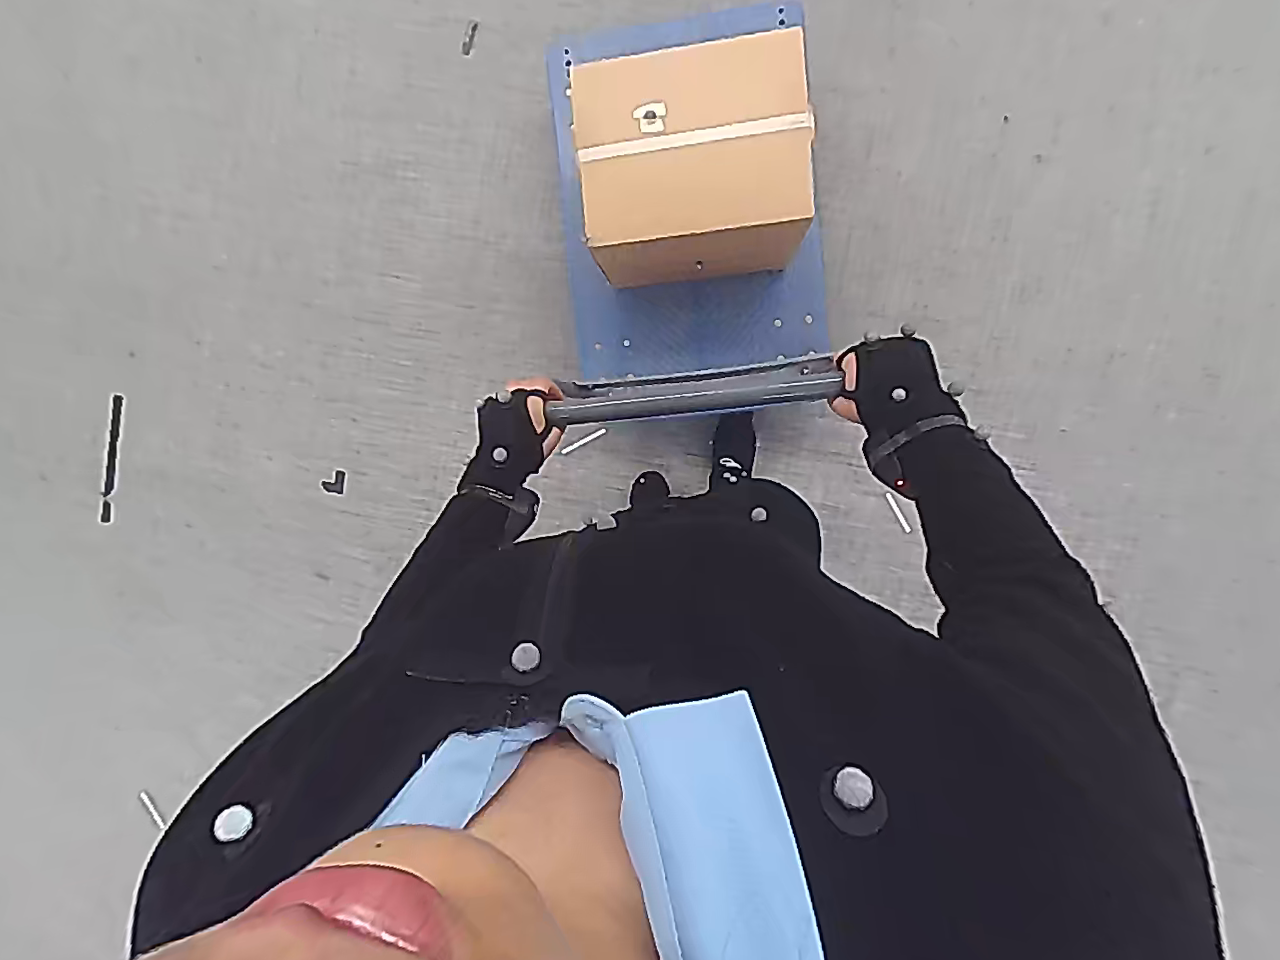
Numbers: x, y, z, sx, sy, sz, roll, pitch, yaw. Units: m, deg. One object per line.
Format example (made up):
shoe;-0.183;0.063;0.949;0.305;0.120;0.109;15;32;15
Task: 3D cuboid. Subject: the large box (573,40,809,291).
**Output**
large box;0.108;-0.603;1.114;0.408;0.320;0.320;-5;94;8
